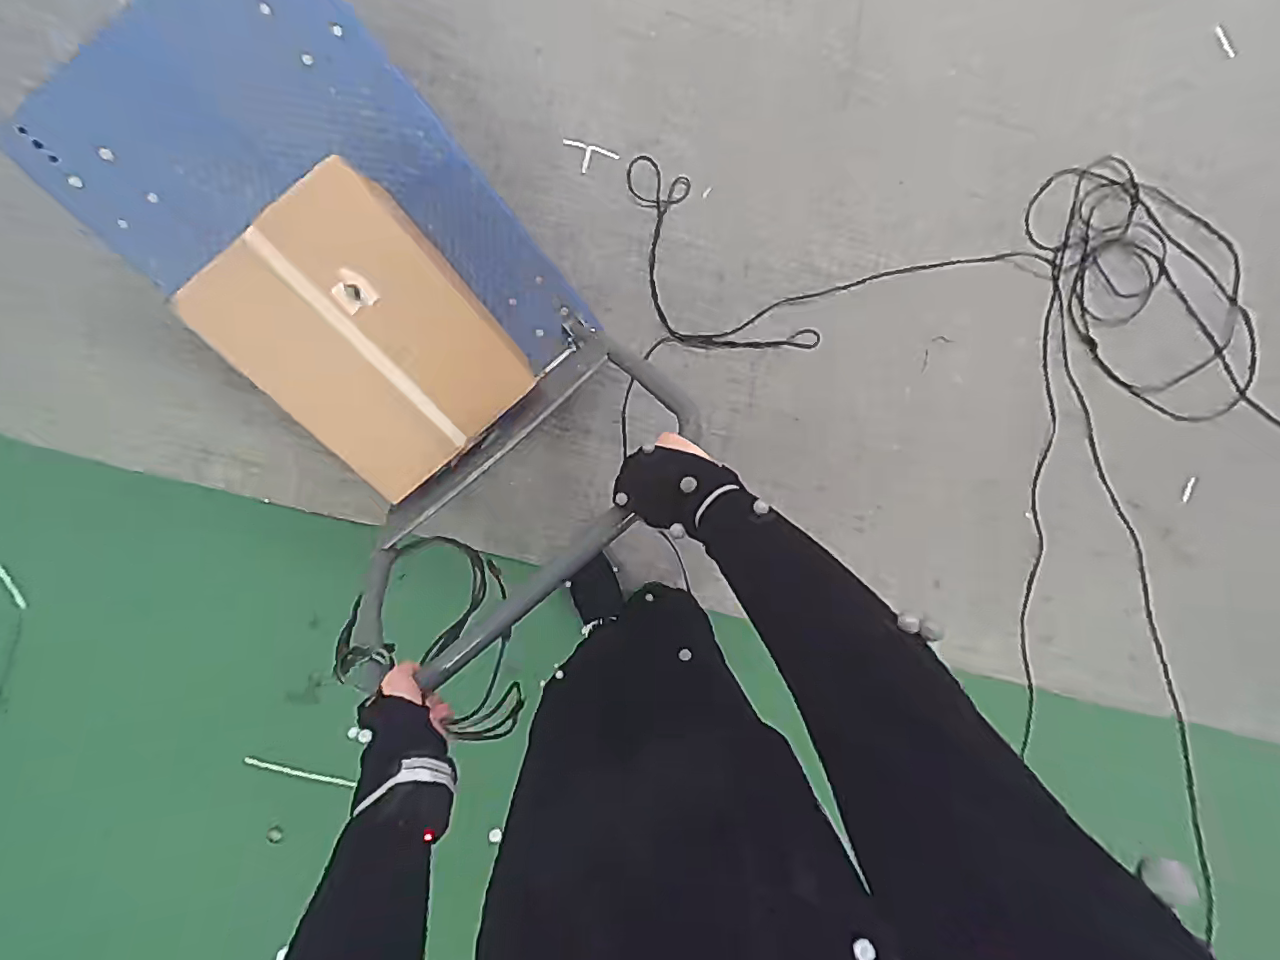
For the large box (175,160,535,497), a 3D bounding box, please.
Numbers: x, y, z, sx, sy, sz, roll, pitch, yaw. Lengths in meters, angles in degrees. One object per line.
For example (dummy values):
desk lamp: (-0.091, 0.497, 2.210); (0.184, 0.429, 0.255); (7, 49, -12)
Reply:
large box: (-0.434, -0.247, 0.944); (0.320, 0.320, 0.408); (-40, 113, 1)
